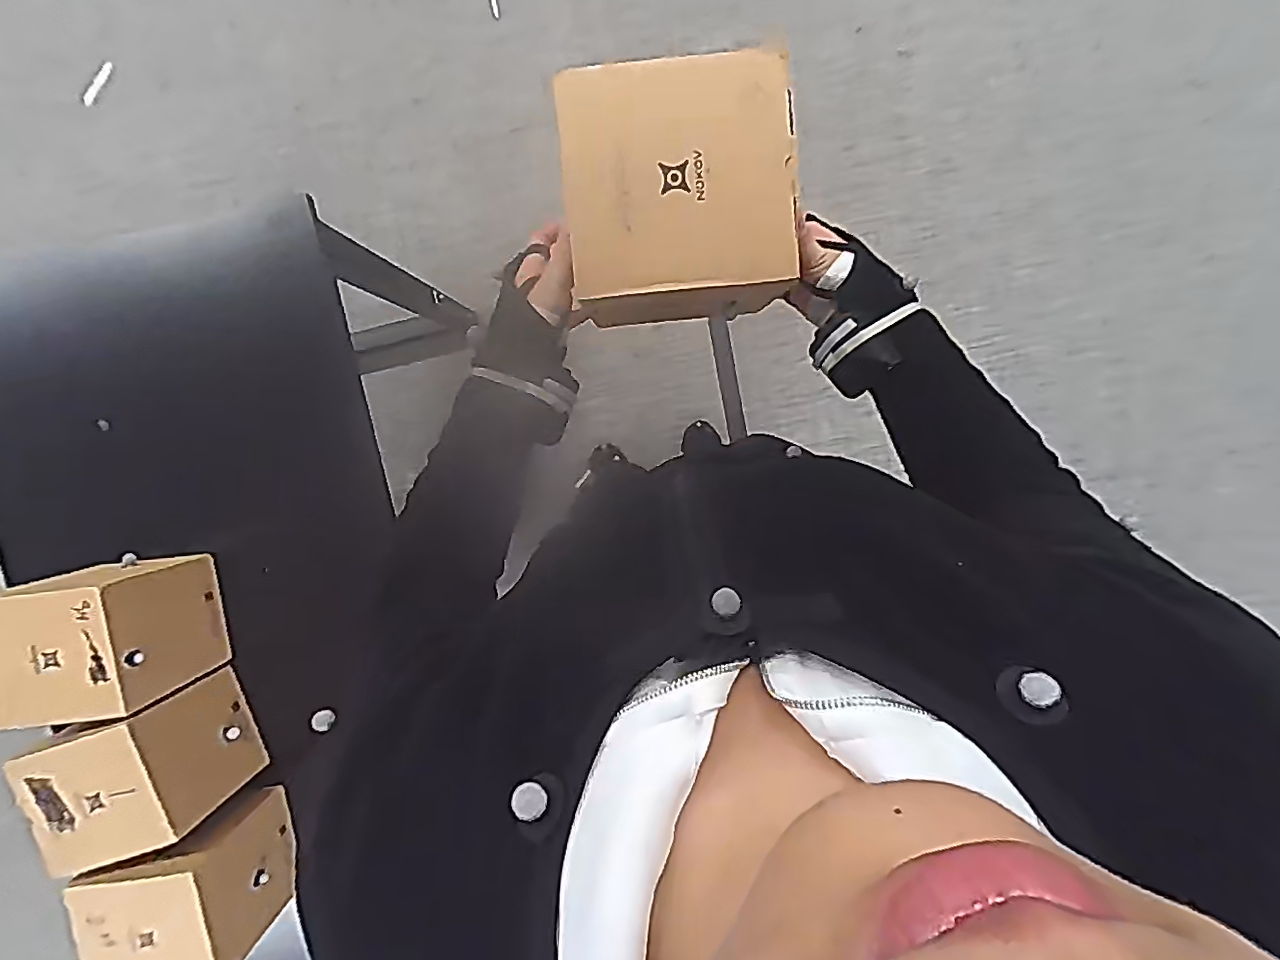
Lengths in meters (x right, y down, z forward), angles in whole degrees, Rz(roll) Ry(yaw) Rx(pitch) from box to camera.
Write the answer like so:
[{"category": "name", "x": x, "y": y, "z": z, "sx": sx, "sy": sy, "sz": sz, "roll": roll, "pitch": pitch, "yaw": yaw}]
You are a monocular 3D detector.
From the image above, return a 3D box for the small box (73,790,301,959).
[{"category": "small box", "x": -0.614, "y": 0.569, "z": 0.763, "sx": 0.179, "sy": 0.176, "sz": 0.168, "roll": -9, "pitch": 94, "yaw": 4}]

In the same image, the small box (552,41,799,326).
[{"category": "small box", "x": 0.029, "y": -0.240, "z": 0.483, "sx": 0.179, "sy": 0.176, "sz": 0.168, "roll": -6, "pitch": 96, "yaw": 2}]
